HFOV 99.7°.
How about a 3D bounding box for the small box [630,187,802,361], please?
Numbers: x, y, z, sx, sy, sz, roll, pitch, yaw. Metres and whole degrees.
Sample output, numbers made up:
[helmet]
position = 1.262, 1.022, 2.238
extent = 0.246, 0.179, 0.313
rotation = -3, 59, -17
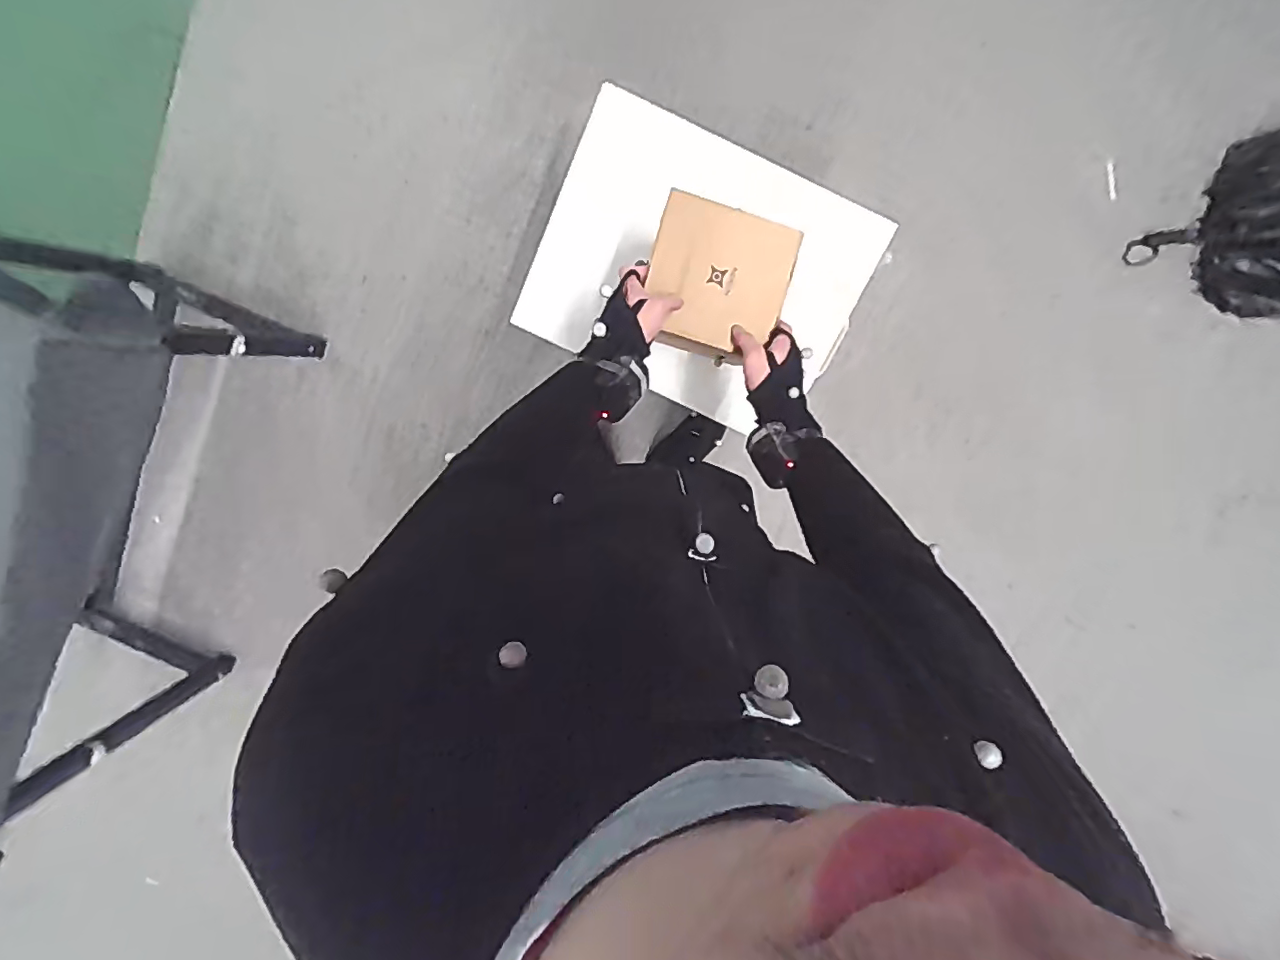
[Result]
[small box]
position = 0.089, -0.263, 0.735
extent = 0.179, 0.176, 0.168
rotation = 14, 99, -4
